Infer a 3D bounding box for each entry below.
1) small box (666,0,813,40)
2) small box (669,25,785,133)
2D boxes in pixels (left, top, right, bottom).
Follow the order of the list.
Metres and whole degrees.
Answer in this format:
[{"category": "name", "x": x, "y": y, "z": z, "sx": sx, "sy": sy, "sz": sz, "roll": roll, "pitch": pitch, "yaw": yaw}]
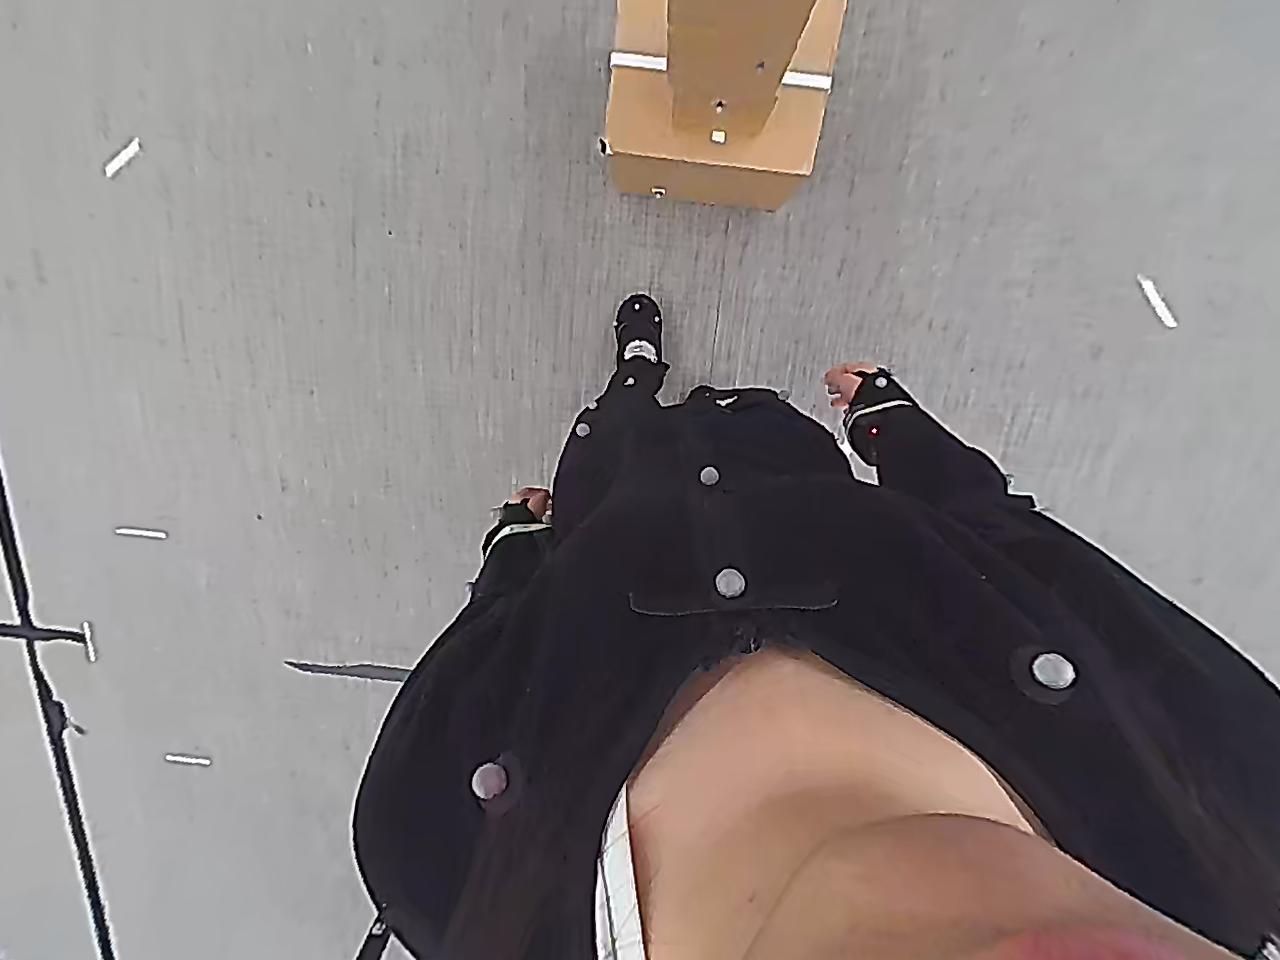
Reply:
[{"category": "small box", "x": 0.127, "y": -0.636, "z": 0.606, "sx": 0.179, "sy": 0.176, "sz": 0.168, "roll": 9, "pitch": 105, "yaw": 0}, {"category": "small box", "x": 0.142, "y": -0.716, "z": 0.924, "sx": 0.179, "sy": 0.176, "sz": 0.168, "roll": 5, "pitch": 106, "yaw": 0}]
